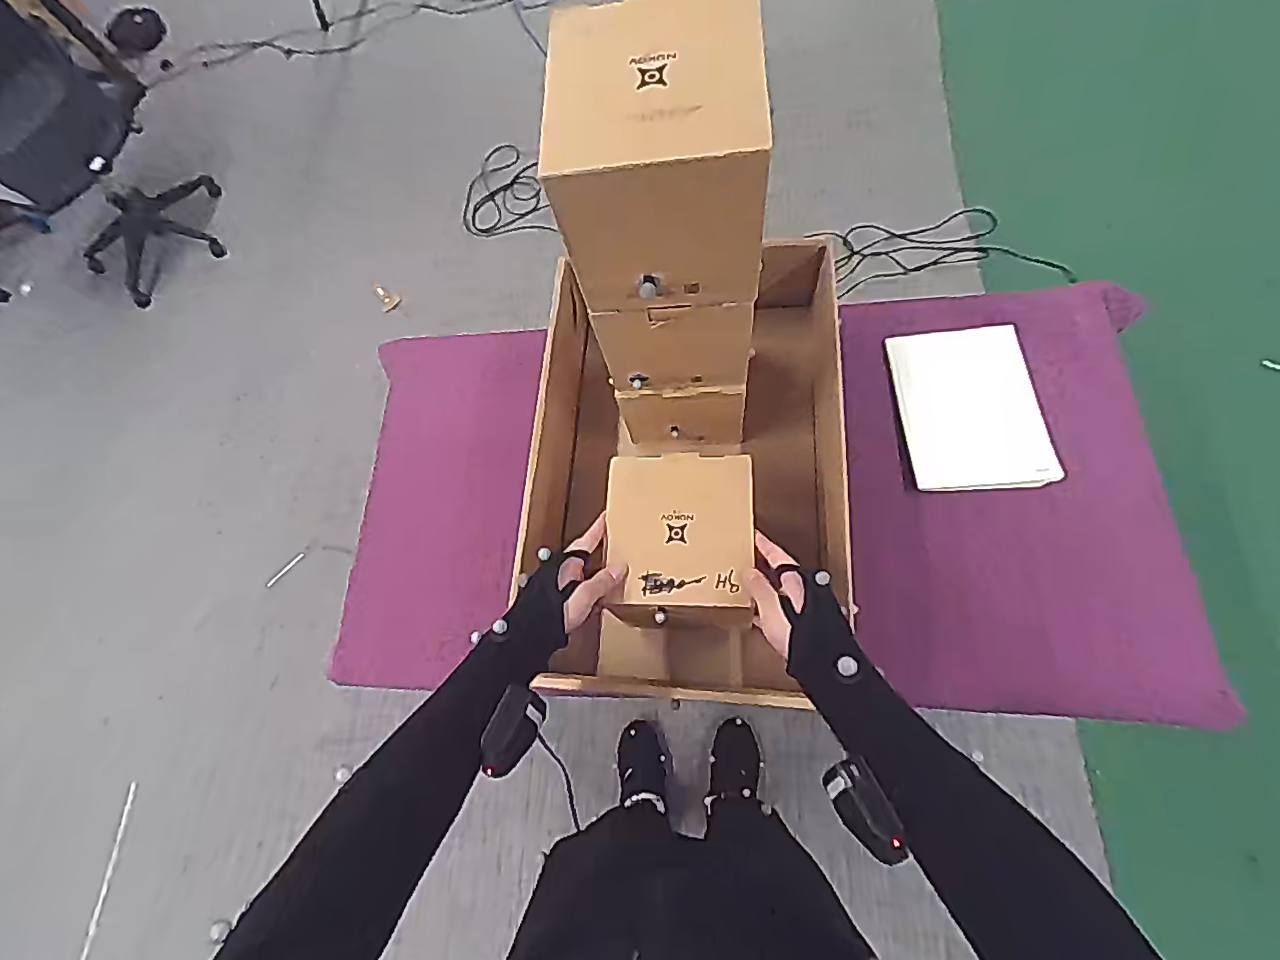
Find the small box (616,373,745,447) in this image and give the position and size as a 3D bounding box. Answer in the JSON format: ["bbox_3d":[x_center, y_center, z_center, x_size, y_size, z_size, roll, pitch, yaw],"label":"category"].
[{"bbox_3d":[0.062,-0.160,0.784,0.168,0.176,0.179,-1,72,8],"label":"small box"}]

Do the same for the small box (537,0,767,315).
[{"bbox_3d":[0.019,-0.272,0.480,0.168,0.176,0.179,-2,72,8],"label":"small box"}]

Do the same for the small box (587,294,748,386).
[{"bbox_3d":[0.039,-0.220,0.633,0.168,0.176,0.179,-2,70,7],"label":"small box"}]

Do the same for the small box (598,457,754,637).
[{"bbox_3d":[0.054,0.087,0.667,0.168,0.176,0.179,-1,65,11],"label":"small box"}]
